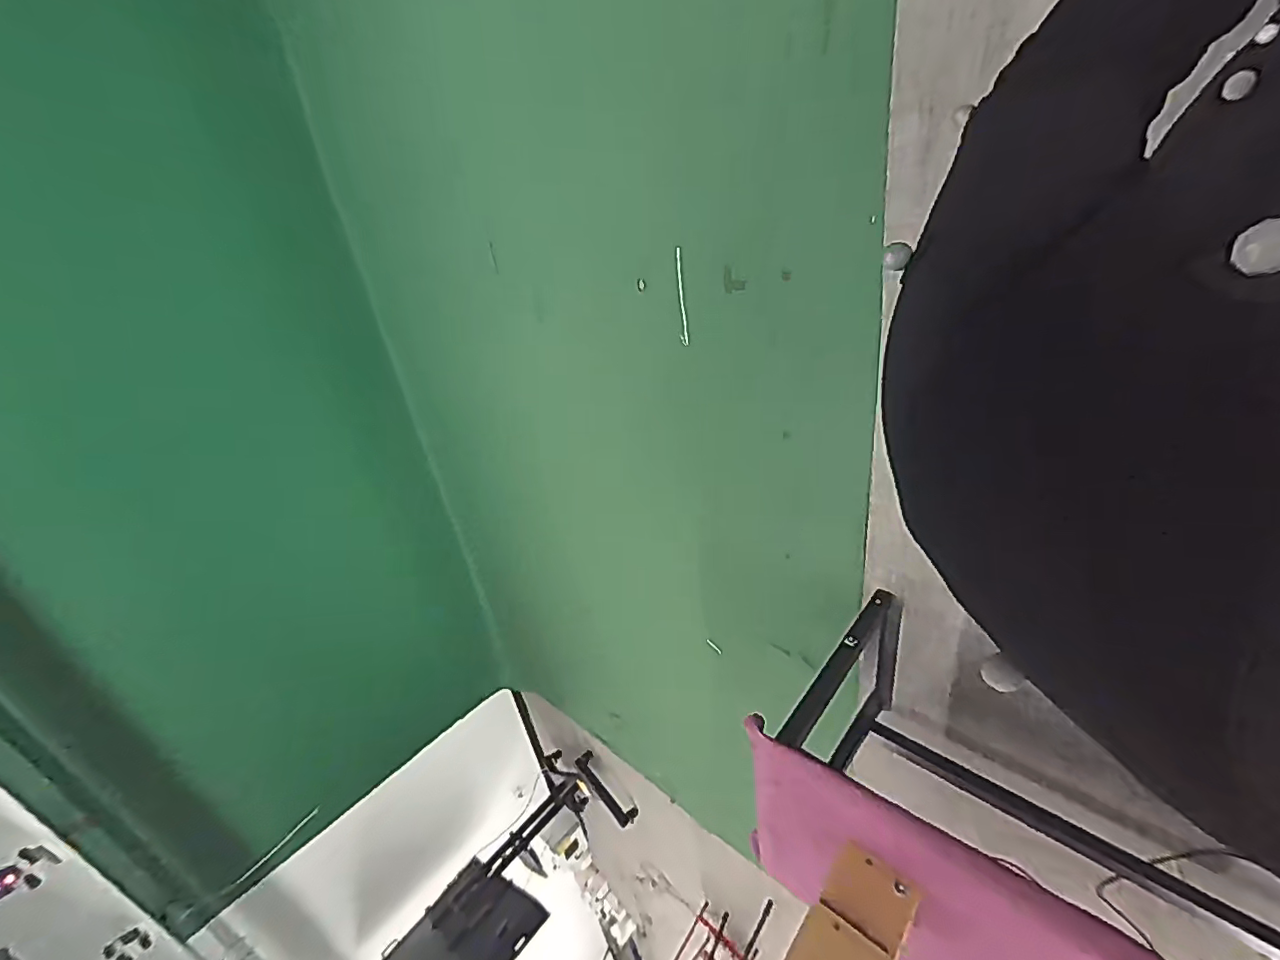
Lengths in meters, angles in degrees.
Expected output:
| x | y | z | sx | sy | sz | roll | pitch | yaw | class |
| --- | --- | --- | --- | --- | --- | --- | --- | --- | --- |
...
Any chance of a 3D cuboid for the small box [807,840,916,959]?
| x | y | z | sx | sy | sz | roll | pitch | yaw | class |
| --- | --- | --- | --- | --- | --- | --- | --- | --- | --- |
| 0.498 | 0.965 | 1.215 | 0.168 | 0.176 | 0.179 | 24 | 132 | 38 | small box |
